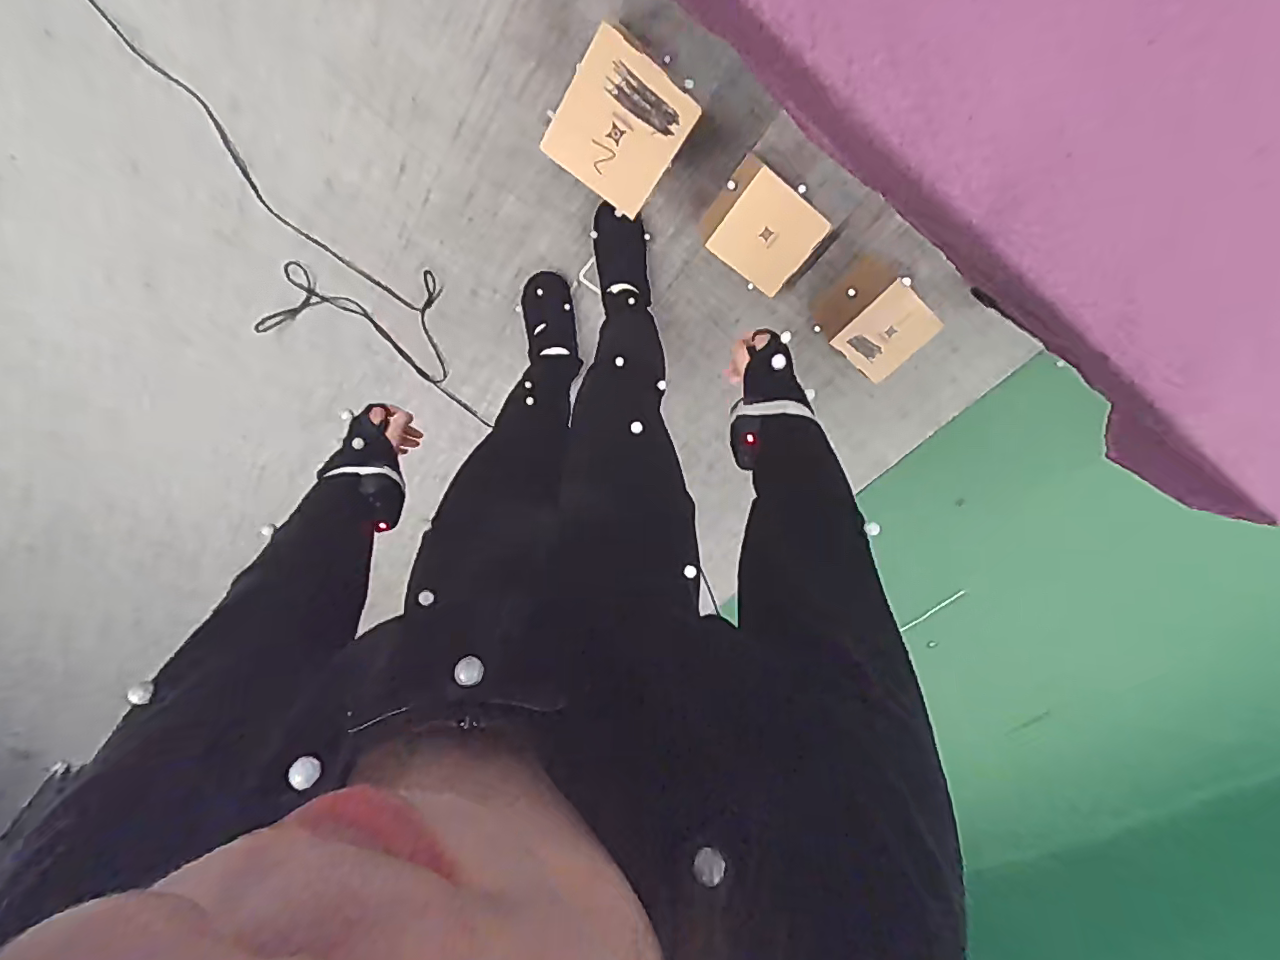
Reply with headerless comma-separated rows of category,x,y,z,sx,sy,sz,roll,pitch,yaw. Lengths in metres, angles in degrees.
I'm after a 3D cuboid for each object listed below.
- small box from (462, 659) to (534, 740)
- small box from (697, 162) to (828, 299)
small box,-0.467,0.728,1.802,0.168,0.176,0.179,29,122,-20
small box,0.230,-0.497,1.067,0.179,0.176,0.168,29,122,-21
